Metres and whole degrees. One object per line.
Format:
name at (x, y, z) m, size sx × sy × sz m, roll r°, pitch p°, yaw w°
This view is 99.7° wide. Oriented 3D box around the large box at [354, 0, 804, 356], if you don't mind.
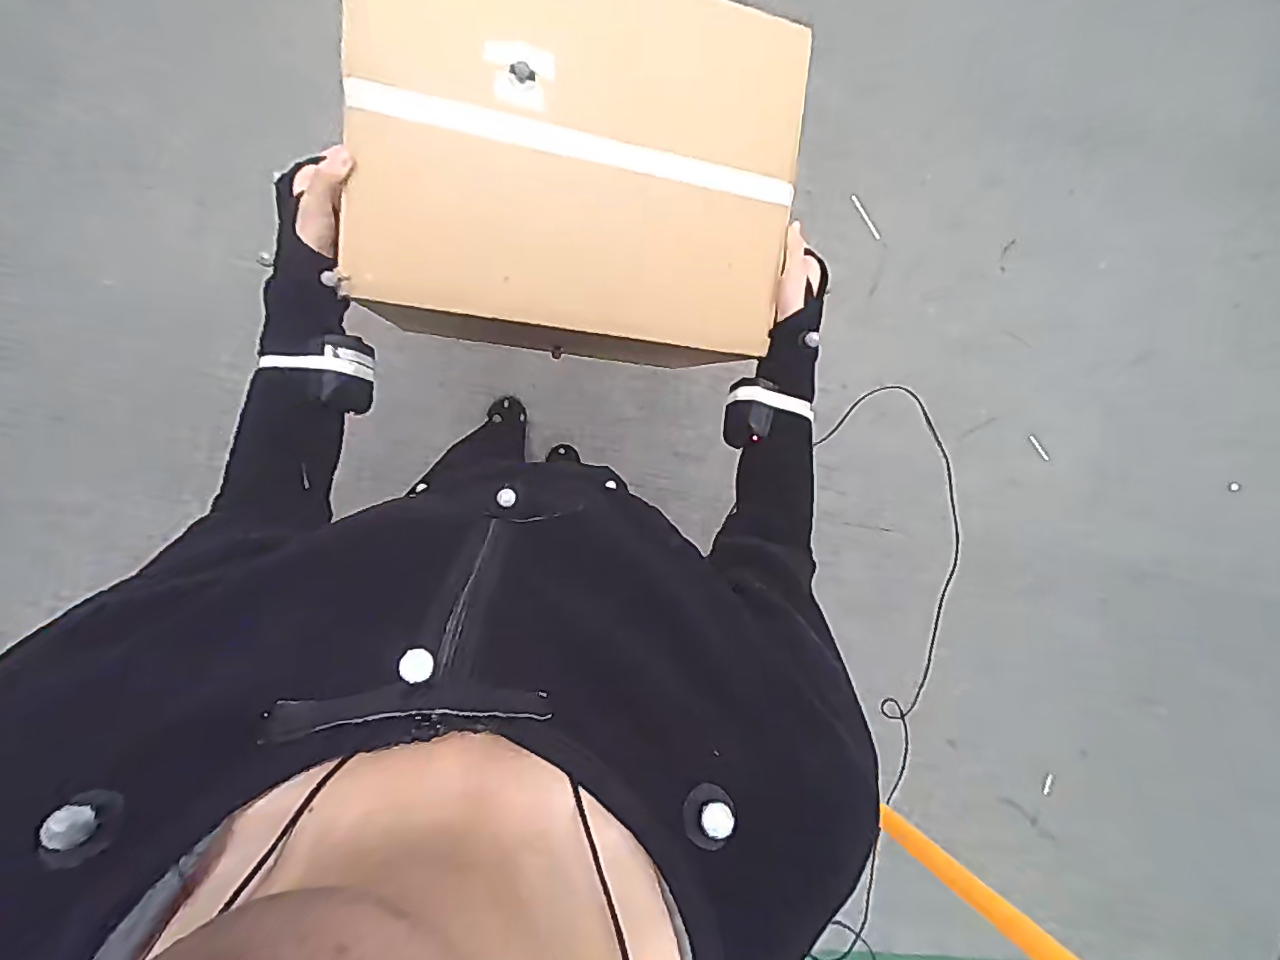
large box at (-0.078, -0.326, 0.643) m, size 0.408 × 0.320 × 0.320 m, roll 4°, pitch 98°, yaw -15°
